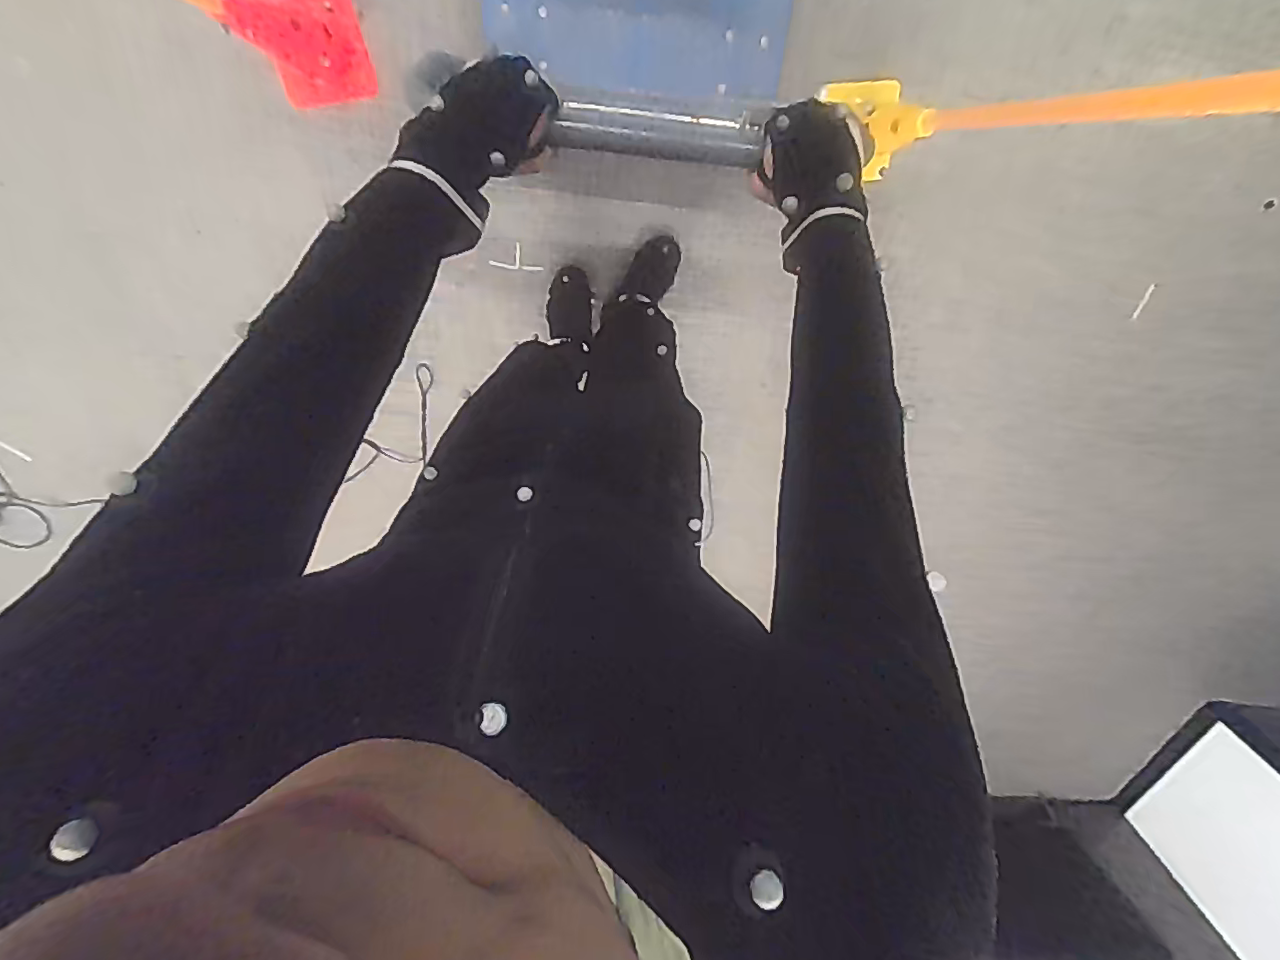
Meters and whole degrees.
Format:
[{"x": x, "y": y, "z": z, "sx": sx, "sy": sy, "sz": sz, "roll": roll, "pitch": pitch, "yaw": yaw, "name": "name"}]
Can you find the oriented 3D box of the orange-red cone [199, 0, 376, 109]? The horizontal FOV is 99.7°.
[{"x": -0.667, "y": -0.818, "z": 0.981, "sx": 0.199, "sy": 0.360, "sz": 0.198, "roll": -7, "pitch": 120, "yaw": 2, "name": "orange-red cone"}]
